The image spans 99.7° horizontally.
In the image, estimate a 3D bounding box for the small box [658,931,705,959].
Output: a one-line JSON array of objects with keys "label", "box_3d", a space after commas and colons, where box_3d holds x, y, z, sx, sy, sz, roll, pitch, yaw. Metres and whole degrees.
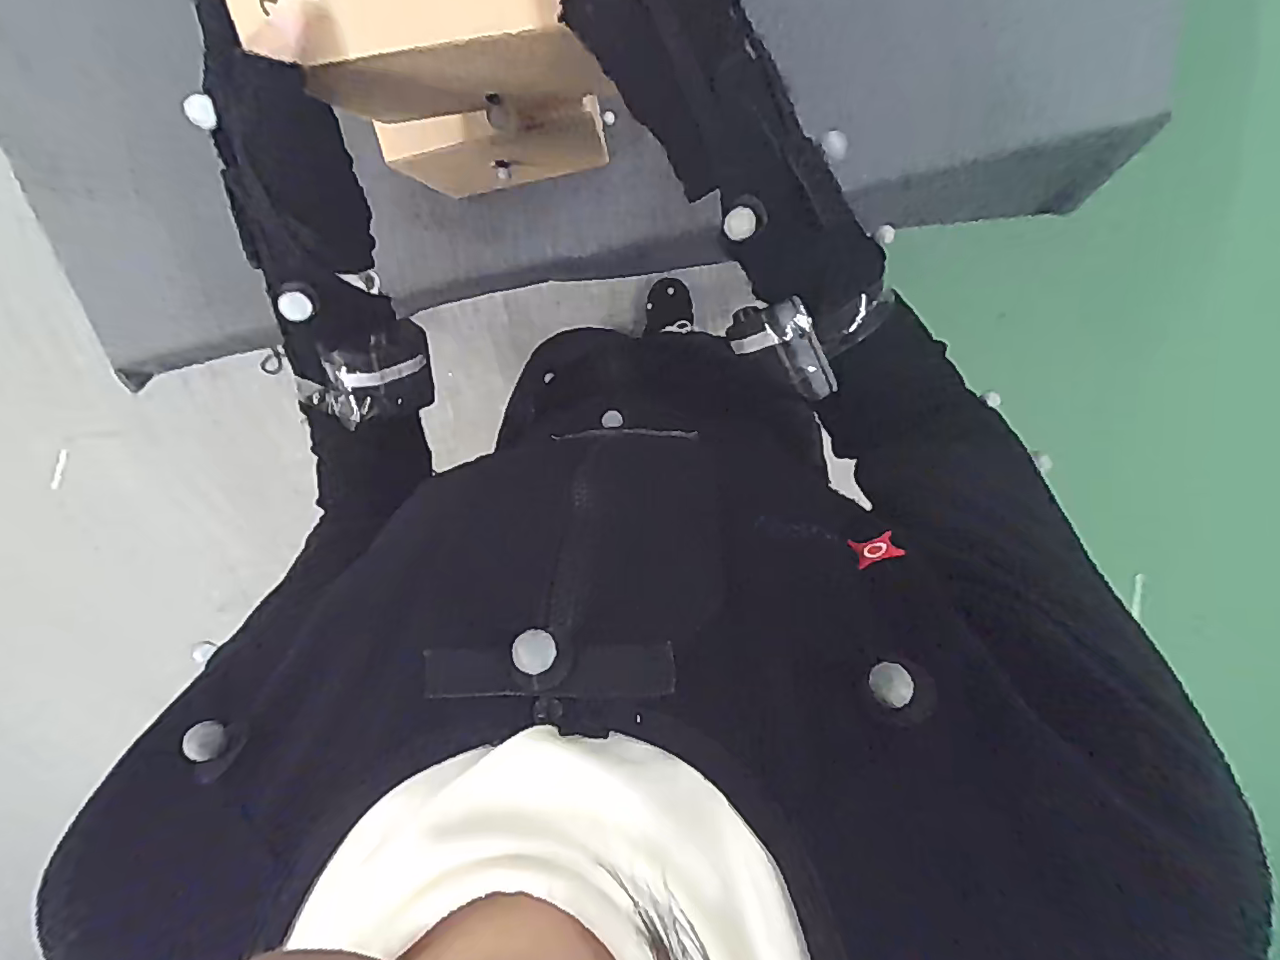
[{"label": "small box", "box_3d": [0.160, 1.861, 2.054, 0.179, 0.176, 0.168, -8, 110, 3]}]

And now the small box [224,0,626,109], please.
[{"label": "small box", "box_3d": [-0.106, -0.307, 0.277, 0.179, 0.176, 0.168, -7, 117, 0]}]

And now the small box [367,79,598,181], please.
[{"label": "small box", "box_3d": [-0.136, -0.385, 0.481, 0.179, 0.176, 0.168, -8, 107, 4]}]
